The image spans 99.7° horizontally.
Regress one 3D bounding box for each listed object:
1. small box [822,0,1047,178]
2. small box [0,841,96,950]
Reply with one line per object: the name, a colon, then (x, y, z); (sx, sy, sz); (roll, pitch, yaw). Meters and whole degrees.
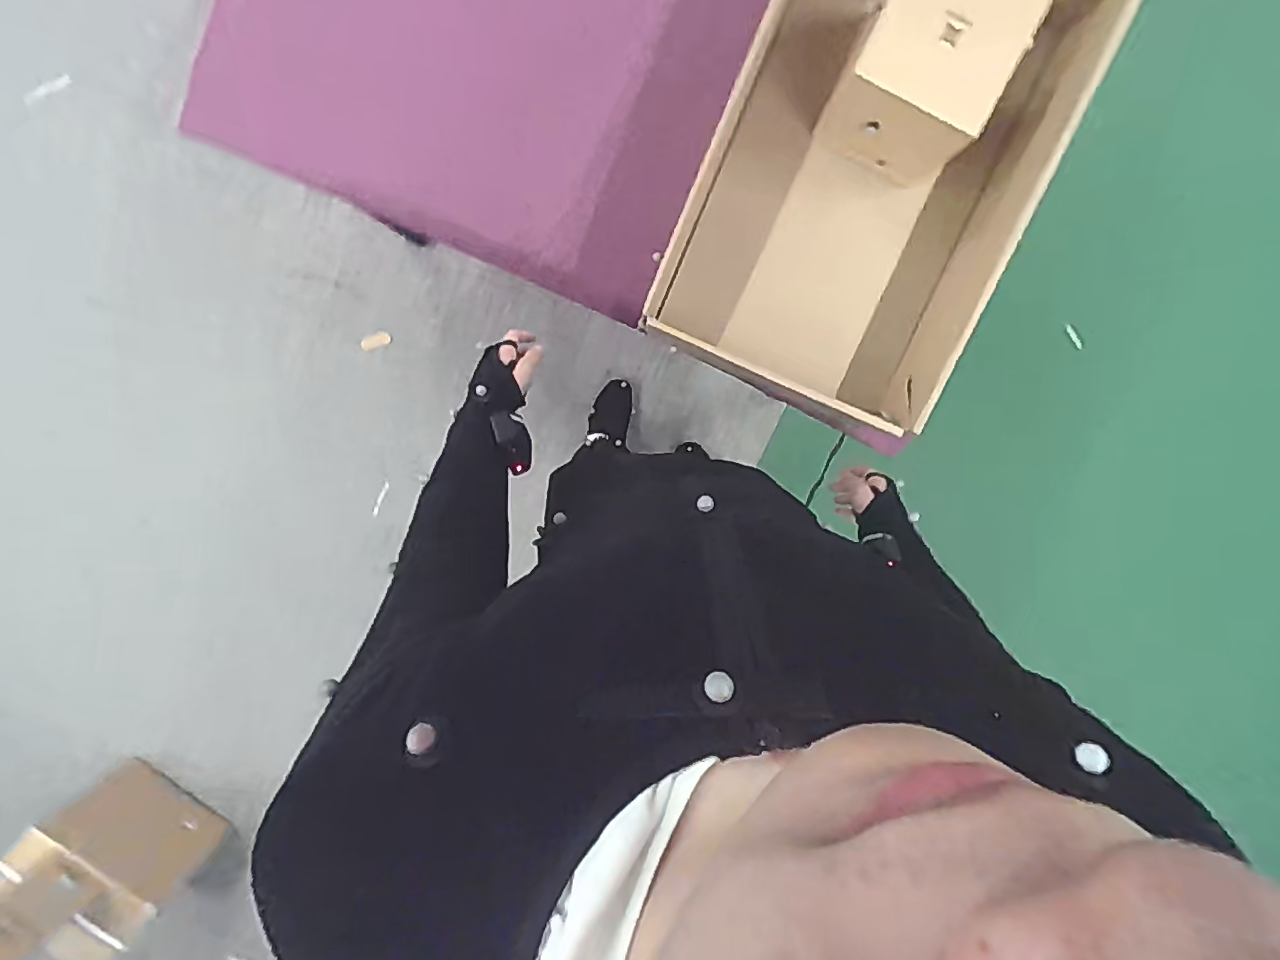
small box: (0.356, -0.527, 0.689); (0.168, 0.176, 0.179); (26, 99, -3)
small box: (-1.601, 1.103, 1.408); (0.168, 0.176, 0.179); (45, 94, -7)
